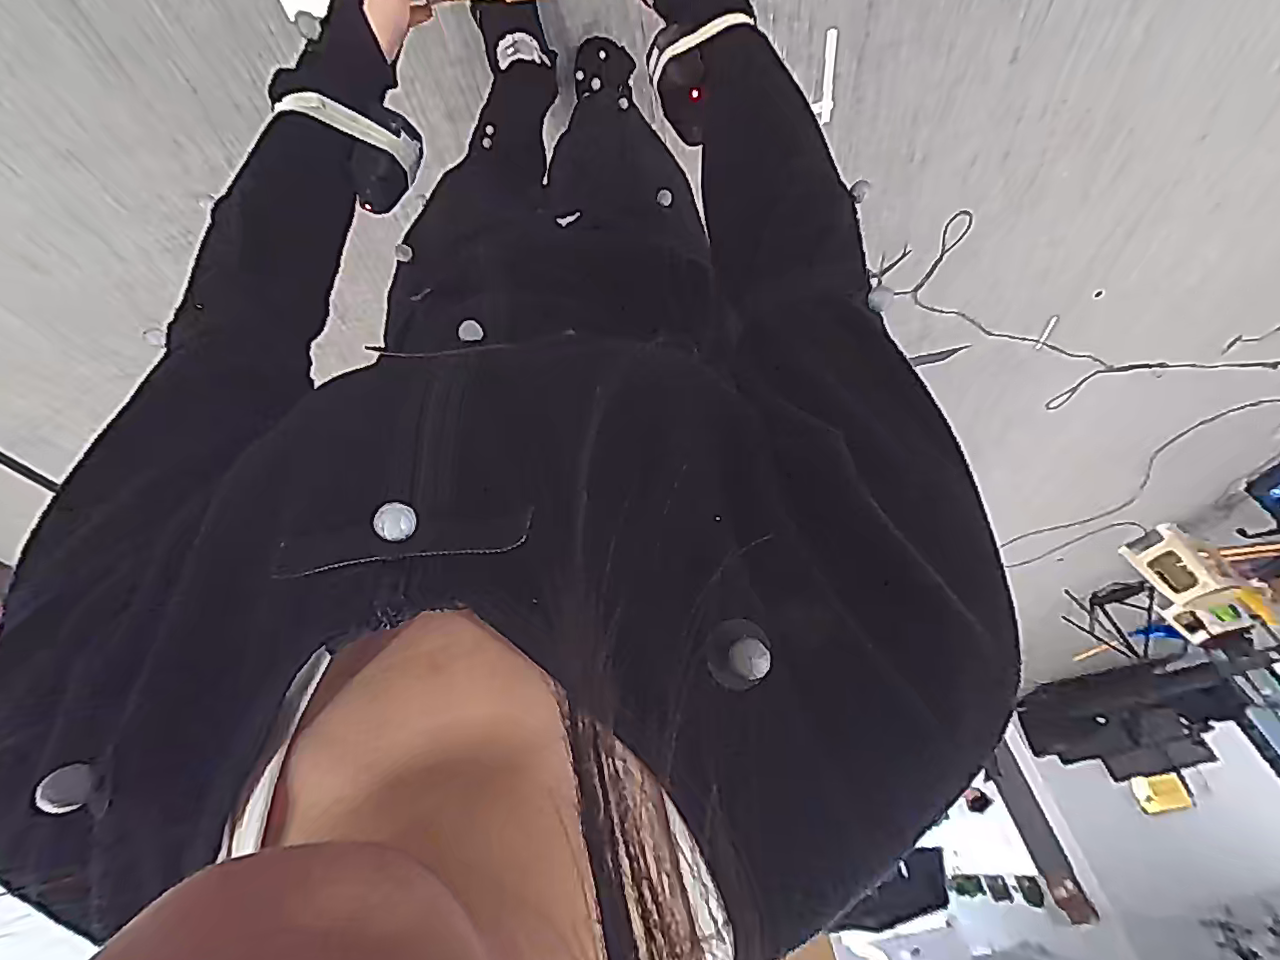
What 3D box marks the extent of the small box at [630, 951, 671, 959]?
[{"bbox_3d":[0.019,1.519,1.594,0.168,0.176,0.179,-13,144,0],"label":"small box"}]
